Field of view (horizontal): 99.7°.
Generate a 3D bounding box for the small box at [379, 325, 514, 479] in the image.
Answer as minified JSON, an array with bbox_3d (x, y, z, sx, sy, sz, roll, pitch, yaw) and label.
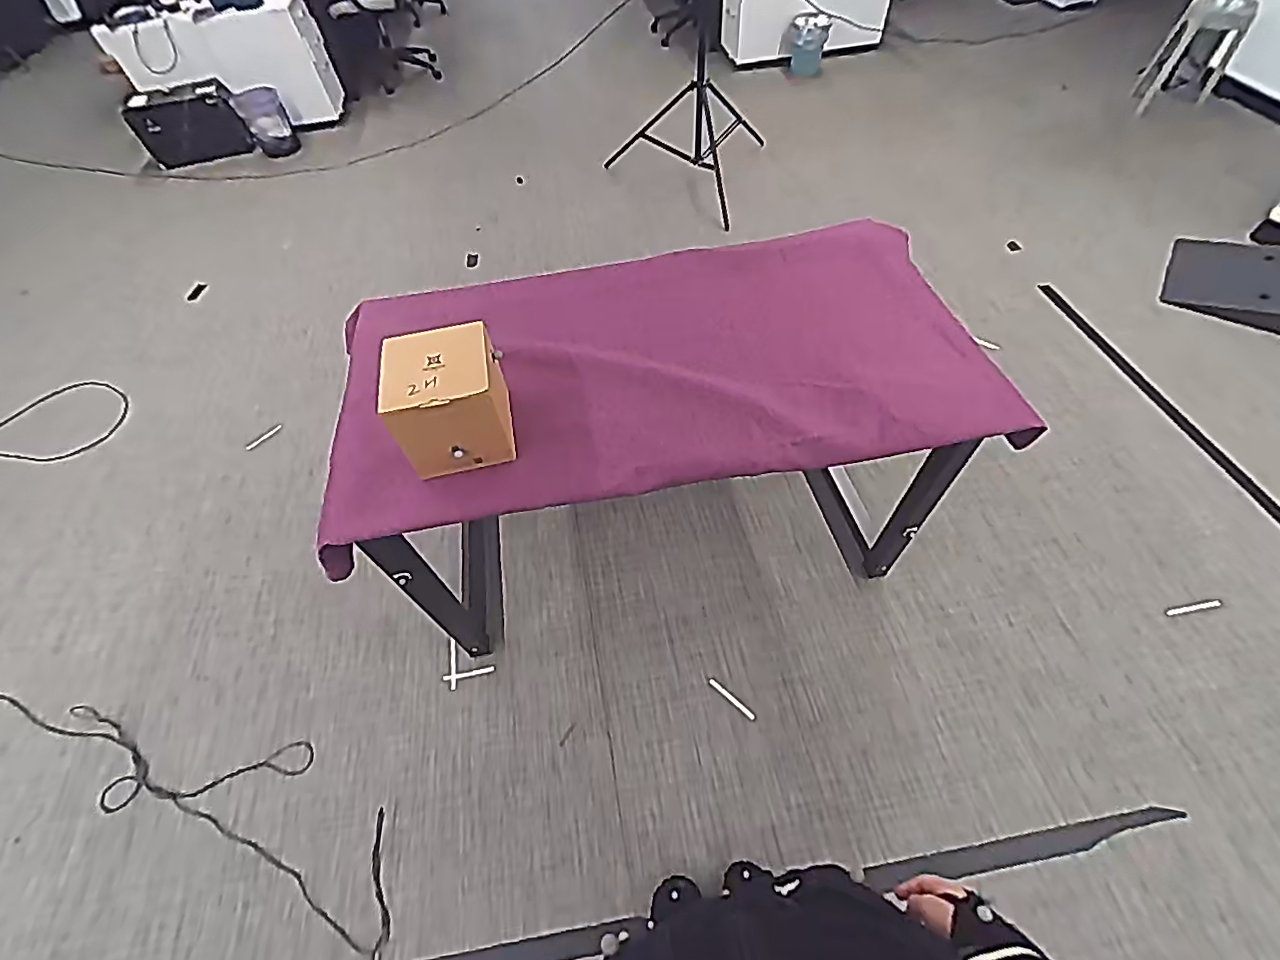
[{"bbox_3d":[-0.319,-0.130,0.916,0.168,0.176,0.179,-13,55,-5],"label":"small box"}]
